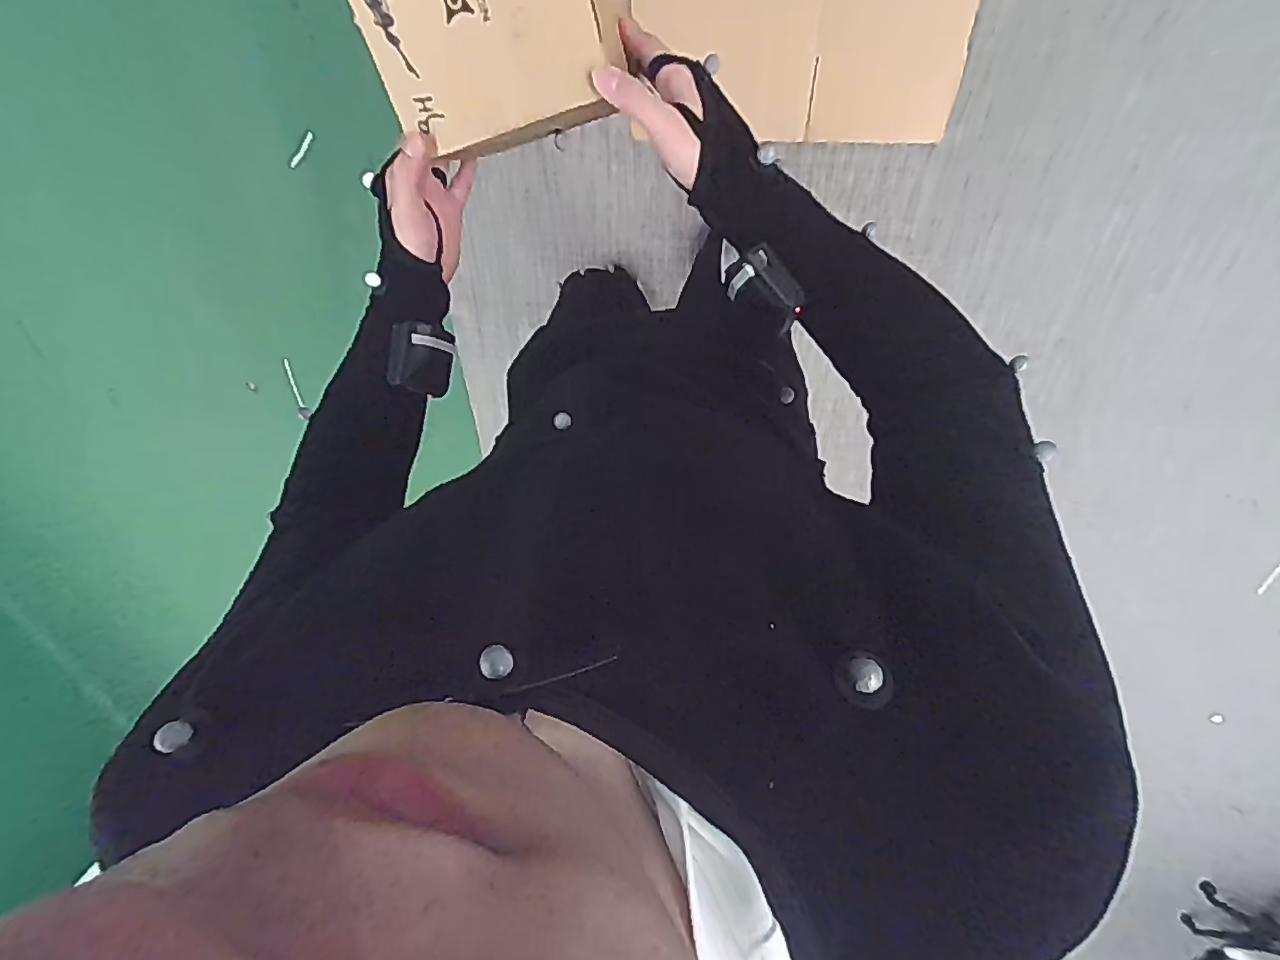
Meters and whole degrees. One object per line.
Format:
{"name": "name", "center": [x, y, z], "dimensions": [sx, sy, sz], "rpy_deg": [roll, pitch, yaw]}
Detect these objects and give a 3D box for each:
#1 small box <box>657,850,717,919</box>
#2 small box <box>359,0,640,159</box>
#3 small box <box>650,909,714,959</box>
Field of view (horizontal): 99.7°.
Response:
{"name": "small box", "center": [0.156, 1.336, 1.754], "dimensions": [0.179, 0.176, 0.168], "rpy_deg": [3, 124, 9]}
{"name": "small box", "center": [-0.103, -0.383, 0.444], "dimensions": [0.179, 0.176, 0.168], "rpy_deg": [-8, 120, 15]}
{"name": "small box", "center": [0.124, 1.416, 1.612], "dimensions": [0.179, 0.176, 0.168], "rpy_deg": [4, 125, 9]}
